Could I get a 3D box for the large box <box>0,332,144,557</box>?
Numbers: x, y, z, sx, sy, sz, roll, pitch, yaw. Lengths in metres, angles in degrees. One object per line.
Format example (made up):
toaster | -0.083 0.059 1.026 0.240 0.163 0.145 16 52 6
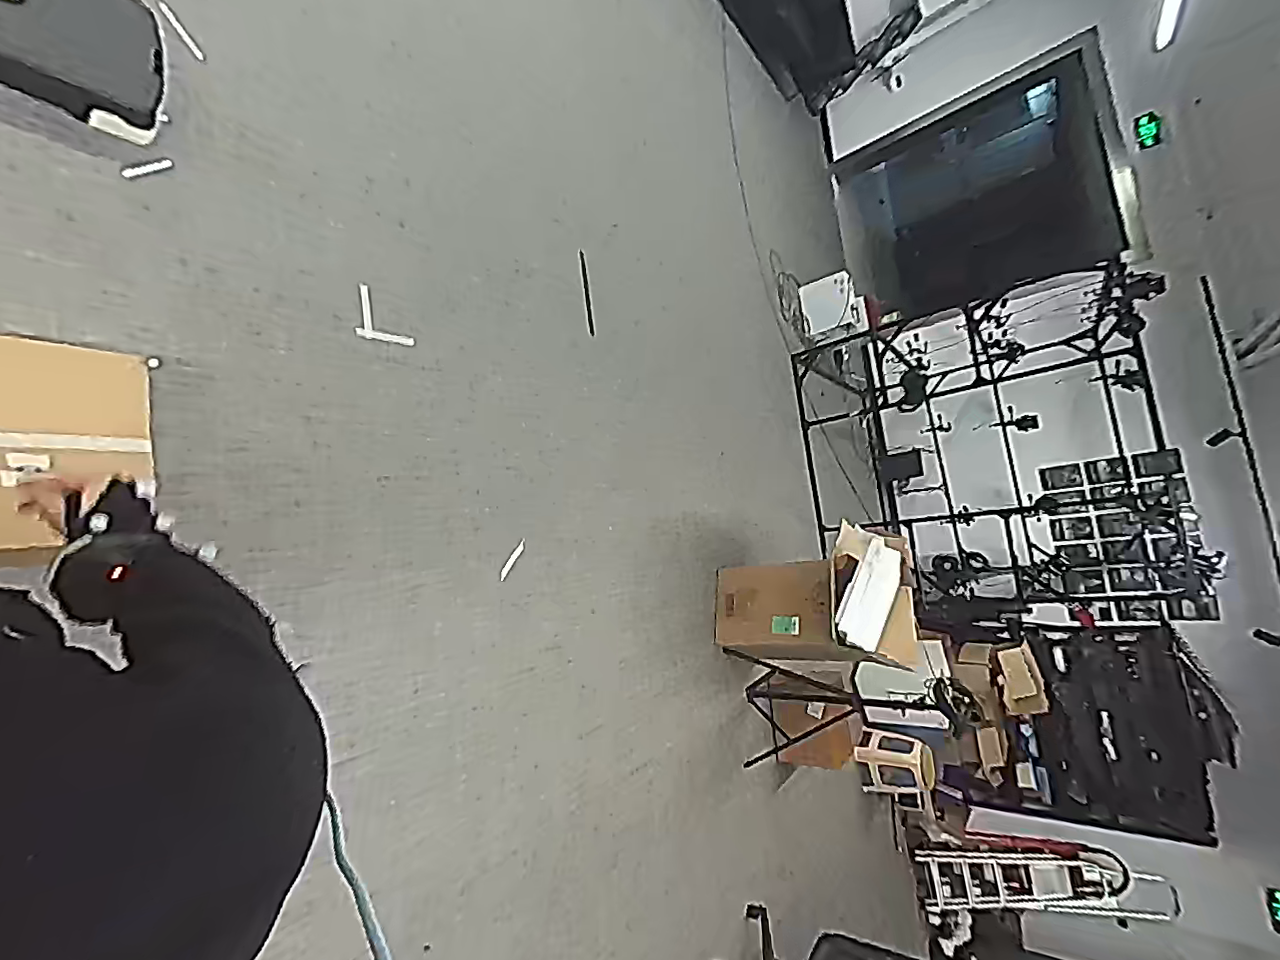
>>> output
large box | -1.060 -0.039 0.813 0.408 0.320 0.320 1 80 -55
